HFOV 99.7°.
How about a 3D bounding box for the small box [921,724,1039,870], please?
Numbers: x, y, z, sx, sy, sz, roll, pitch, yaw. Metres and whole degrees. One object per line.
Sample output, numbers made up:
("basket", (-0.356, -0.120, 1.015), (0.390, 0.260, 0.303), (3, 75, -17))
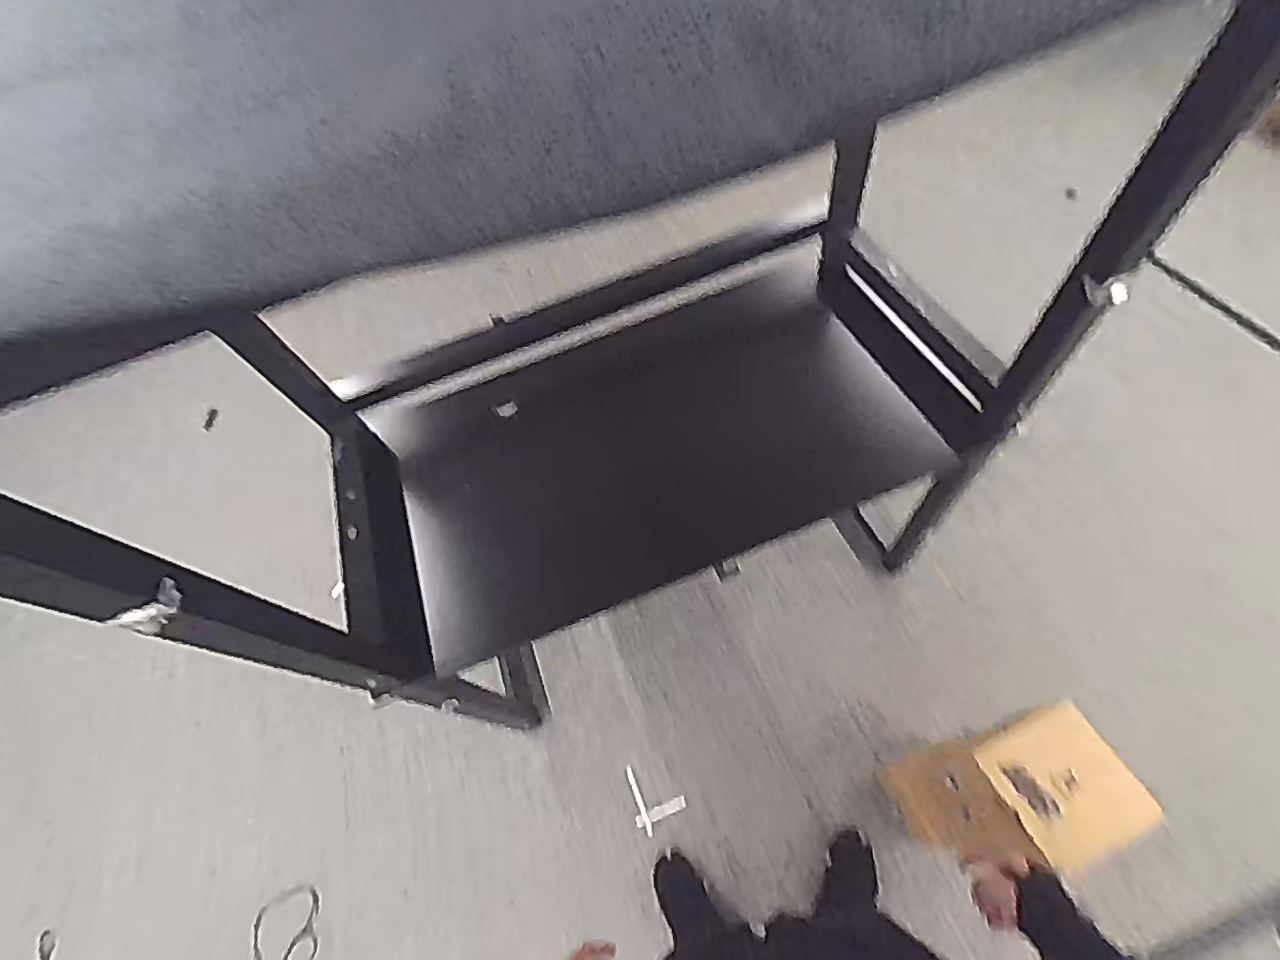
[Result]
("small box", (0.638, 0.542, 0.952), (0.168, 0.176, 0.179), (-26, 60, -5))

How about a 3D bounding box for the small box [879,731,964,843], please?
("small box", (0.682, 0.697, 1.237), (0.179, 0.176, 0.168), (-25, 60, -4))

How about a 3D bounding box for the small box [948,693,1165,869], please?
("small box", (0.603, 0.451, 0.819), (0.179, 0.176, 0.168), (-26, 60, -5))
